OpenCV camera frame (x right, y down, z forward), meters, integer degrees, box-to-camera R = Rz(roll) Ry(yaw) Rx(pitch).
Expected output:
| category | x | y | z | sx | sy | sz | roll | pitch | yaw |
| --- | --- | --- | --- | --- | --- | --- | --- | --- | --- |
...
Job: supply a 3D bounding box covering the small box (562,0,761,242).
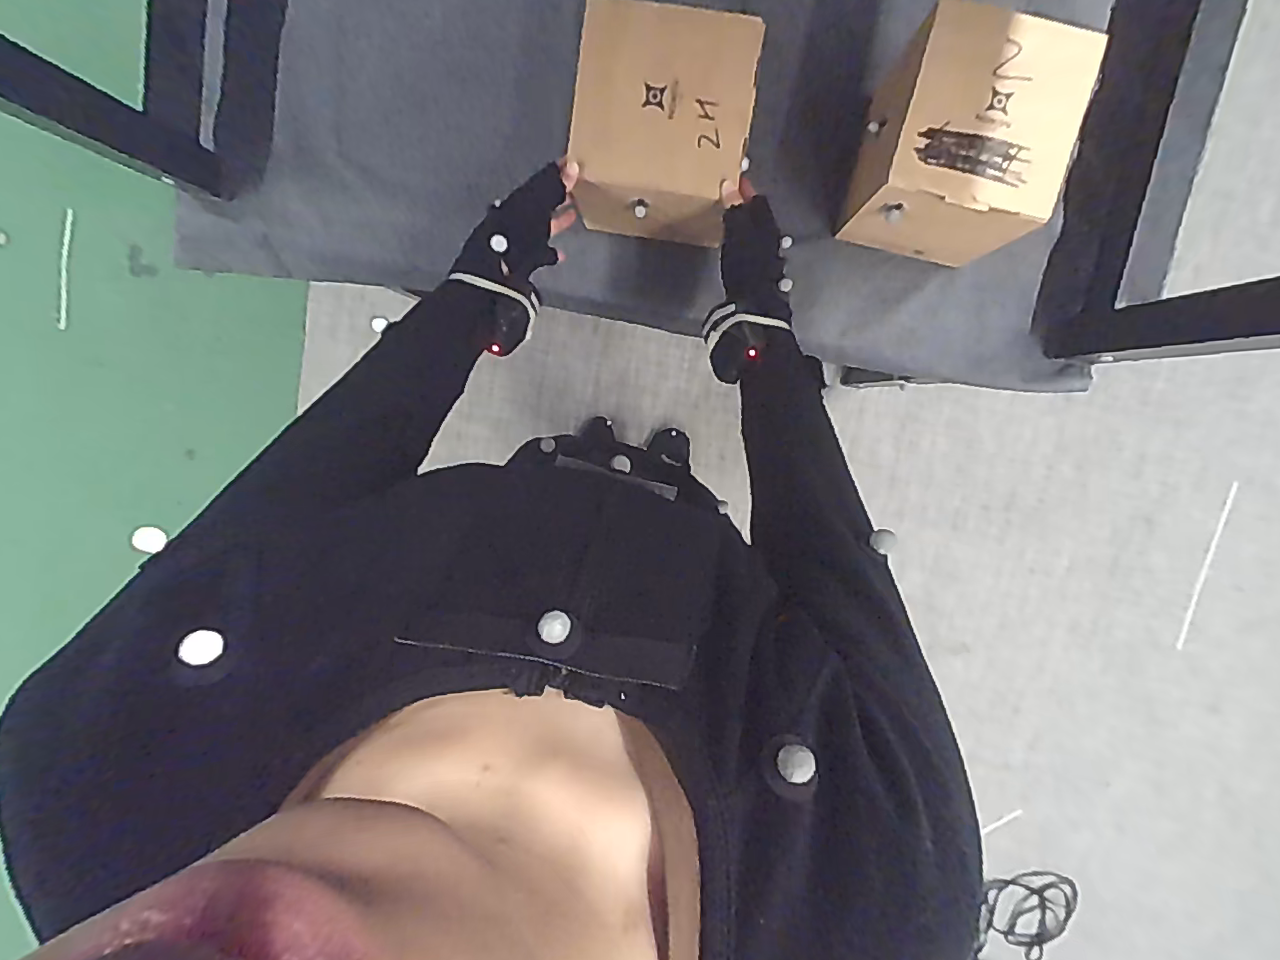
| category | x | y | z | sx | sy | sz | roll | pitch | yaw |
| --- | --- | --- | --- | --- | --- | --- | --- | --- | --- |
| small box | 0.021 | -0.384 | 0.609 | 0.179 | 0.176 | 0.168 | 9 | 99 | 0 |
